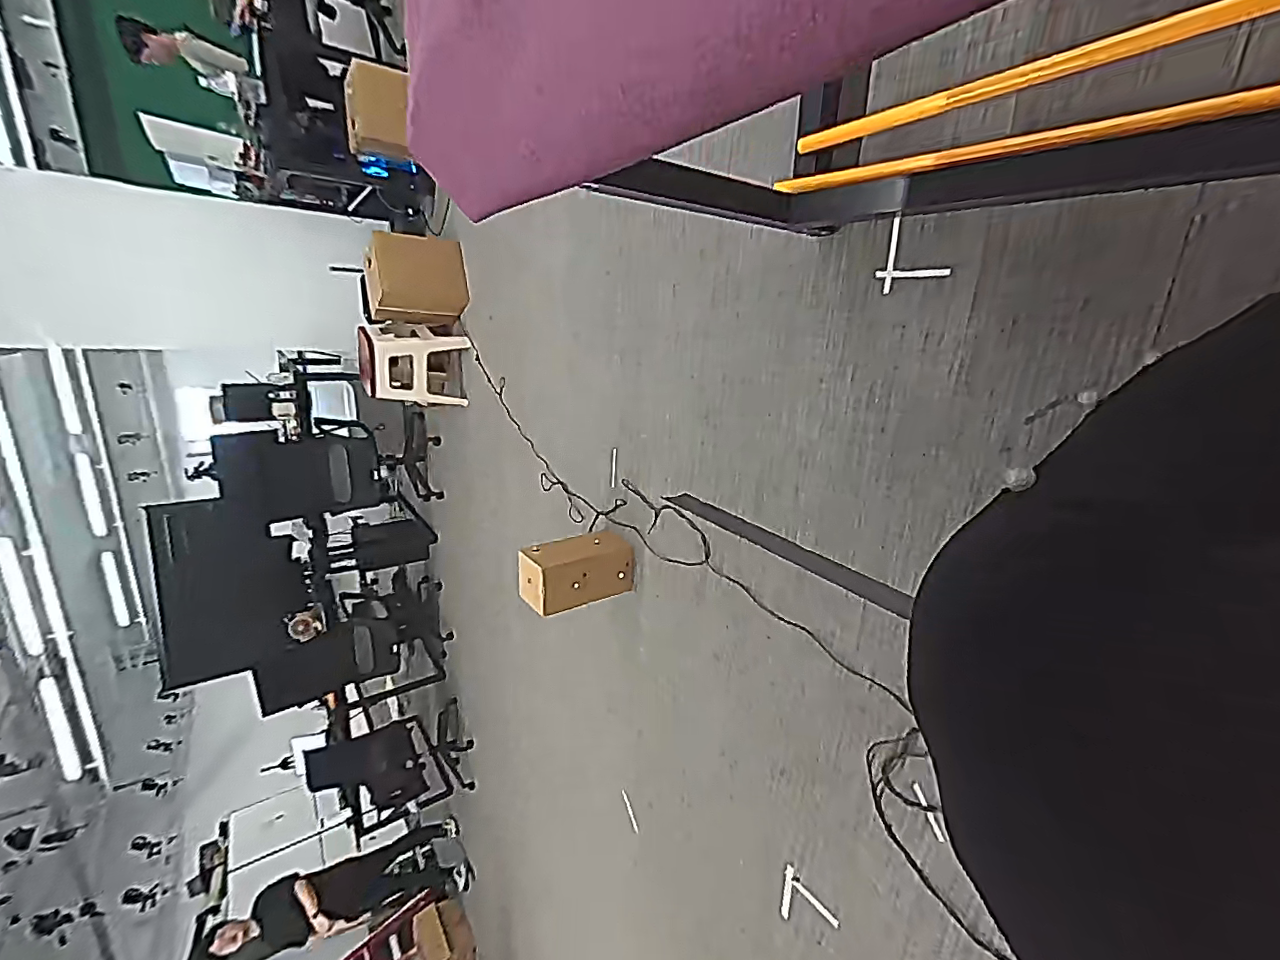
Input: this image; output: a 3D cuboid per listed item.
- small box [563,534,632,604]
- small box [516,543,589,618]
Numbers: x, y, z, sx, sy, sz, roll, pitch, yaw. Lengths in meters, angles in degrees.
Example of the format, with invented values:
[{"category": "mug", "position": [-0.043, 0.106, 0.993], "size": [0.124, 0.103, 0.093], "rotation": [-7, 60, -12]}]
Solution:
[{"category": "small box", "position": [-0.145, 0.289, 1.807], "size": [0.179, 0.176, 0.168], "rotation": [23, 116, 50]}, {"category": "small box", "position": [-0.278, 0.310, 1.712], "size": [0.179, 0.176, 0.168], "rotation": [21, 115, 51]}]
